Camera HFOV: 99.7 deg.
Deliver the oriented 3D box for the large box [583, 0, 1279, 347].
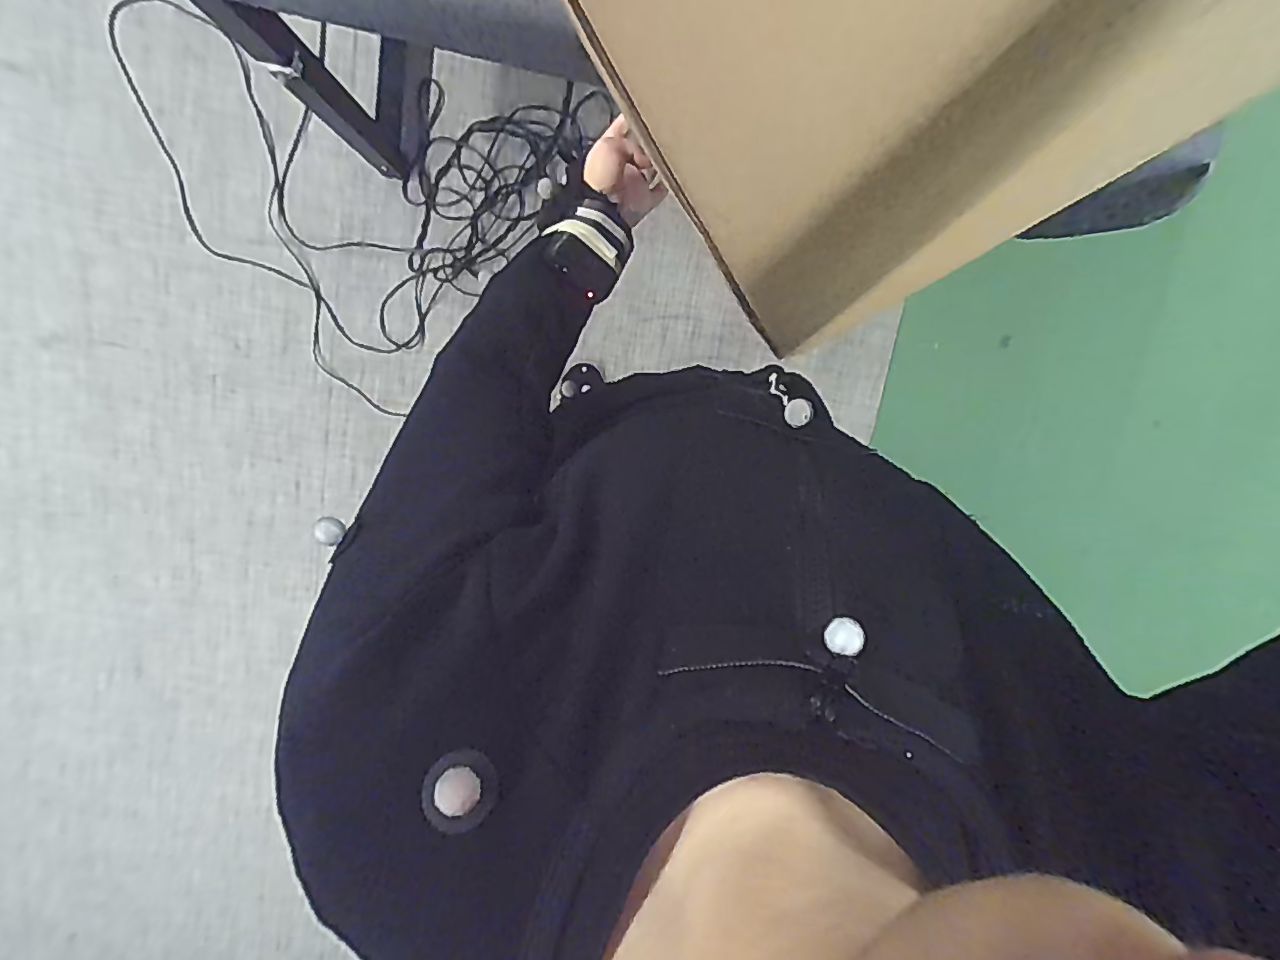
[{"bbox_3d":[0.157,-0.342,0.258,0.408,0.320,0.320,-31,66,20],"label":"large box"}]
